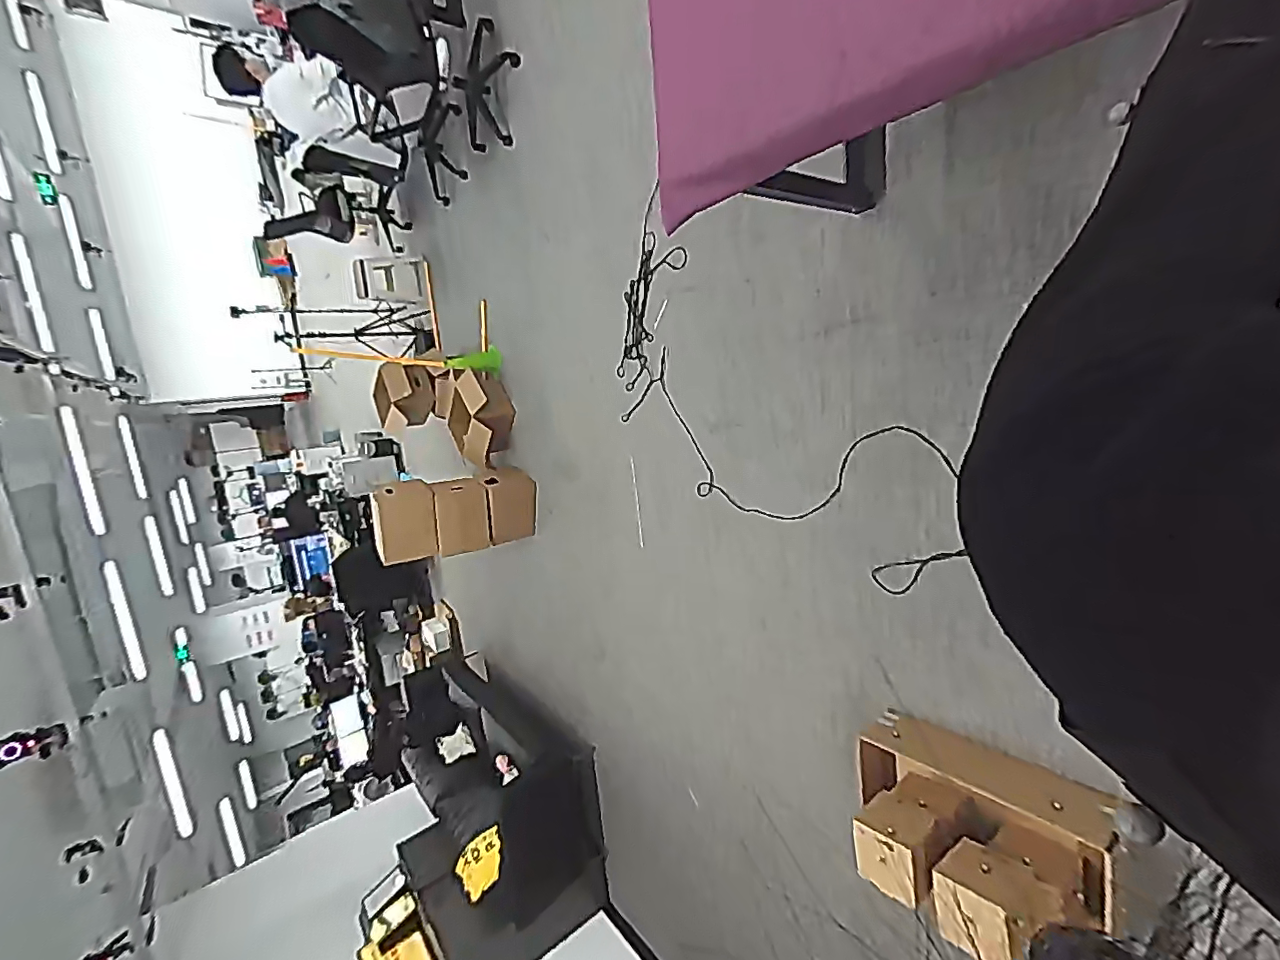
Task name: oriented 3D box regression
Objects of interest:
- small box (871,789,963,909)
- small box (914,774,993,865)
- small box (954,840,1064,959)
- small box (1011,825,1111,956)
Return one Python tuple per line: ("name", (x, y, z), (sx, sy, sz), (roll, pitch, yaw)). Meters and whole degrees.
("small box", (0.765, 1.004, 1.488), (0.168, 0.176, 0.179), (0, 101, 53))
("small box", (0.904, 0.998, 1.579), (0.179, 0.176, 0.168), (-7, 94, 55))
("small box", (0.896, 1.028, 1.313), (0.168, 0.176, 0.179), (-3, 96, 57))
("small box", (1.058, 1.020, 1.366), (0.179, 0.176, 0.168), (0, 99, 57))
